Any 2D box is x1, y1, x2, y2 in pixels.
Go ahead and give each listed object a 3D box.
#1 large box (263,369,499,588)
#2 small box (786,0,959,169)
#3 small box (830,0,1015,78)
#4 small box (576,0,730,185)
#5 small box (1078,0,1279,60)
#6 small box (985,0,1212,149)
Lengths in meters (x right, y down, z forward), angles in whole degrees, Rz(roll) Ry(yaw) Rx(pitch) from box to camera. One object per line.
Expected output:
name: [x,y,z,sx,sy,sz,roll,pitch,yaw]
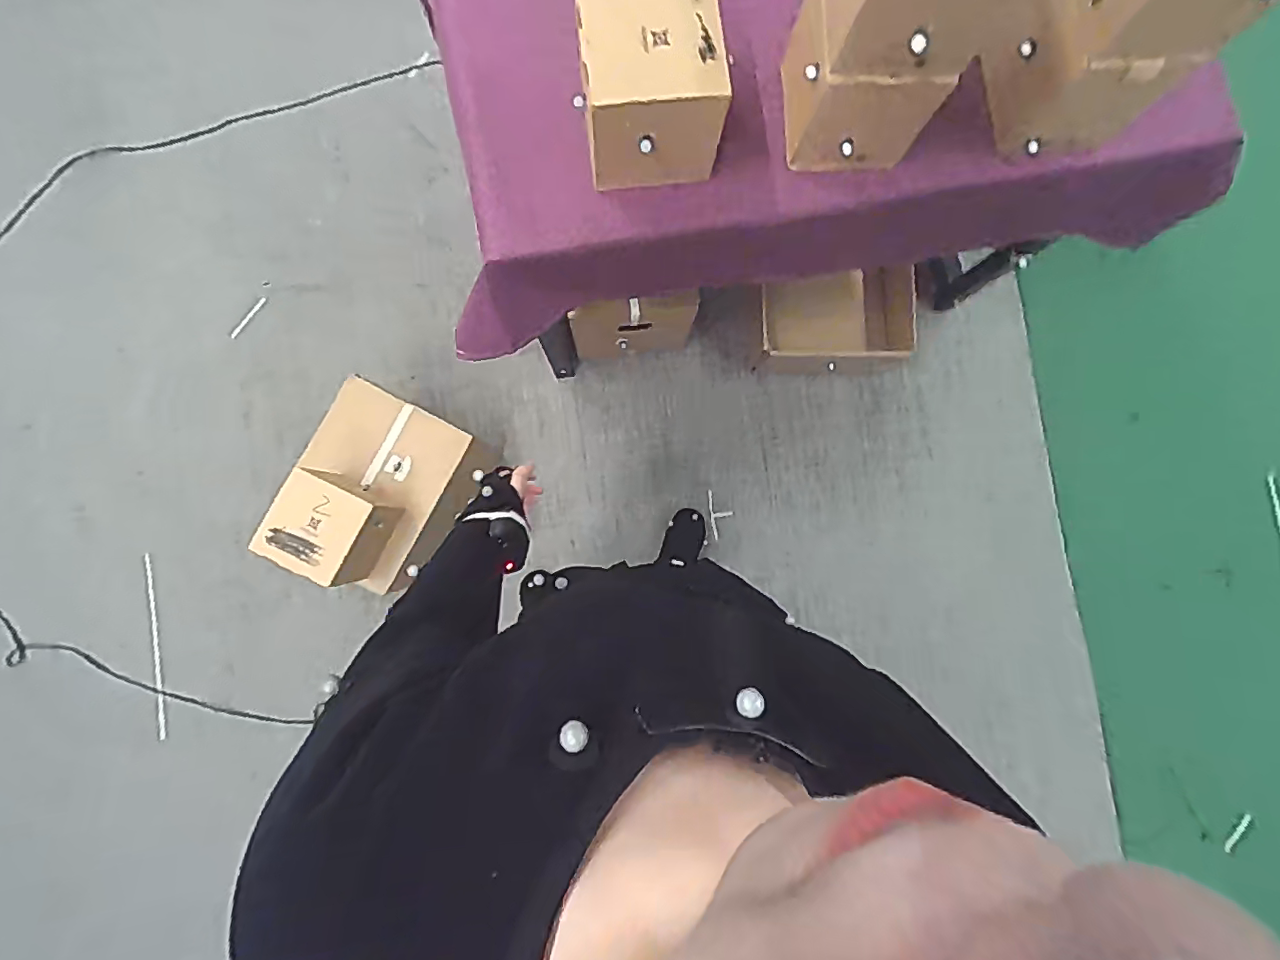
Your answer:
large box: [-0.606,0.008,1.338,0.320,0.320,0.408,28,84,-1]
small box: [0.309,-0.571,0.753,0.168,0.176,0.179,-2,87,-2]
small box: [0.316,-0.589,0.590,0.168,0.176,0.179,-1,86,-2]
small box: [0.015,-0.531,0.737,0.179,0.176,0.168,-7,87,-2]
small box: [0.639,-0.614,0.603,0.179,0.176,0.168,-5,85,-2]
small box: [0.629,-0.599,0.765,0.168,0.176,0.179,-7,85,-2]
